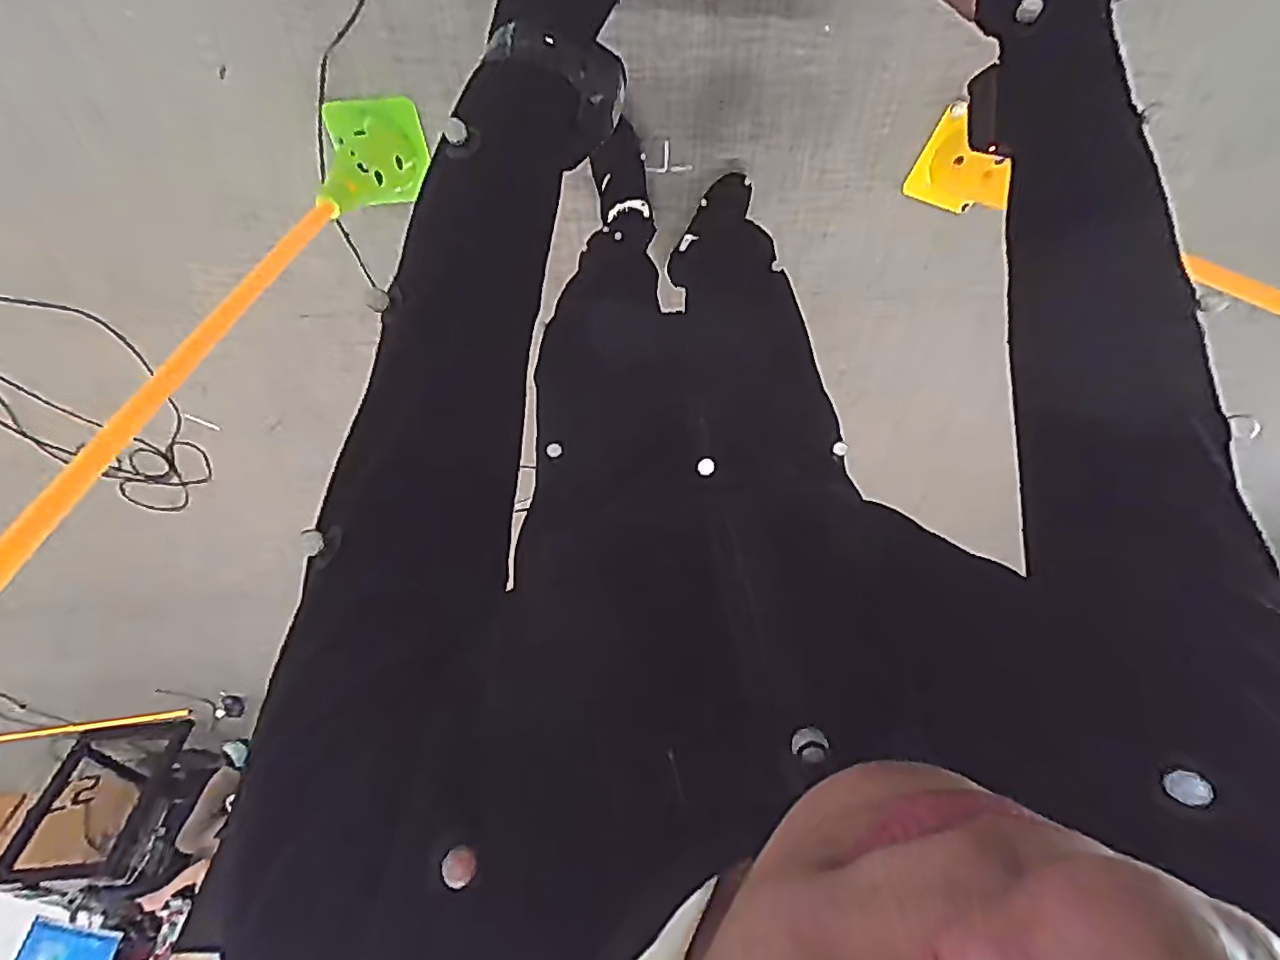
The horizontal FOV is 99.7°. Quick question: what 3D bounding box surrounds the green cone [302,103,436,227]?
[{"bbox_3d":[-0.565,-0.586,1.063,0.202,0.368,0.200,-4,134,1],"label":"green cone"}]
